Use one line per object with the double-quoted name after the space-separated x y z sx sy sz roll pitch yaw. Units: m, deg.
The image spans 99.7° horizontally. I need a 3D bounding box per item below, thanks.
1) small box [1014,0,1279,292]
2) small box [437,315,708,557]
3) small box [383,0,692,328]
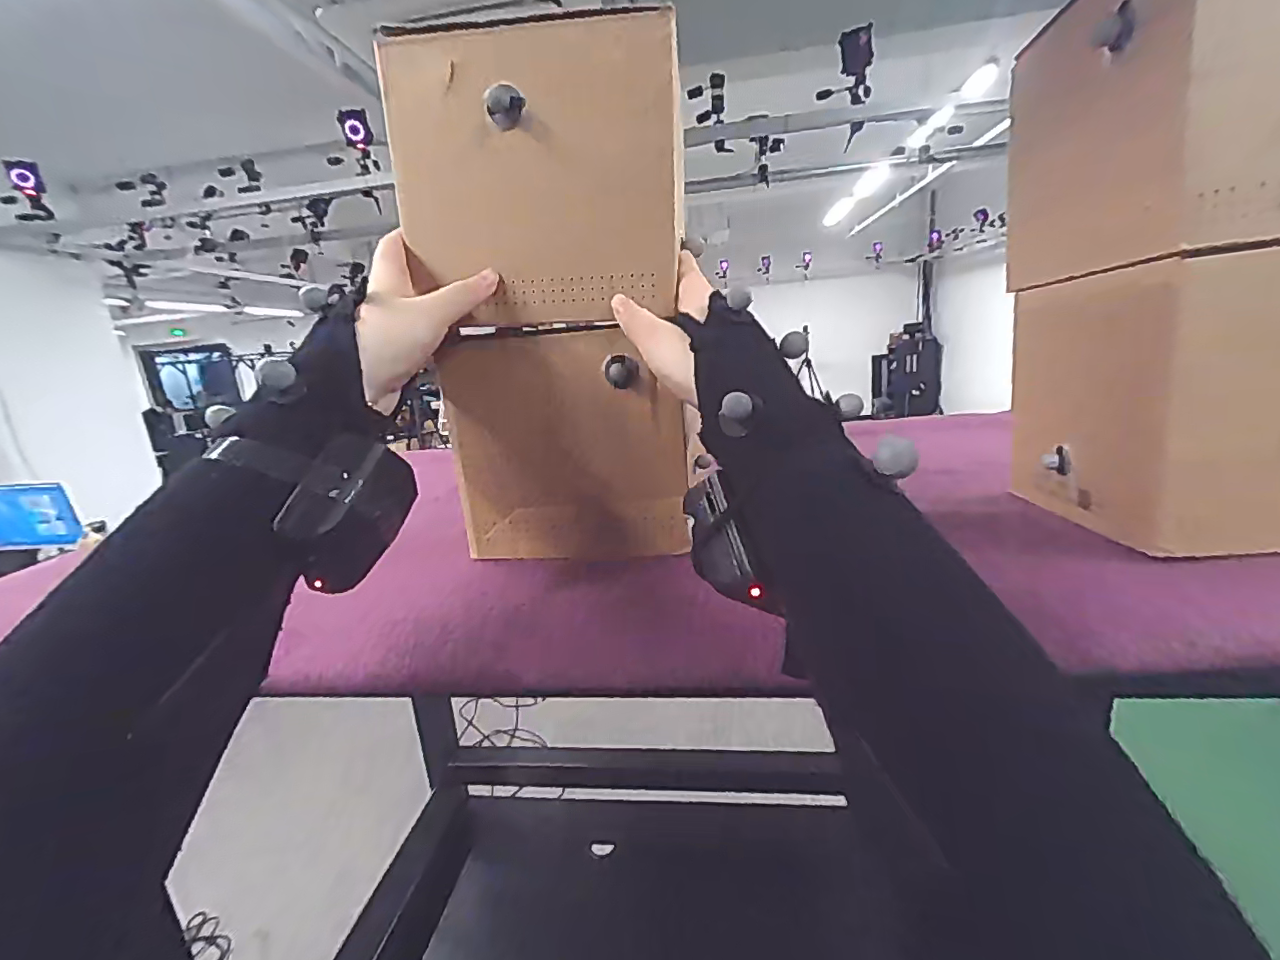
0.356 -0.218 0.323 0.168 0.176 0.179 -4 12 10 "small box"
-0.038 -0.041 0.455 0.179 0.176 0.168 -2 15 9 "small box"
-0.052 -0.201 0.398 0.179 0.176 0.168 1 17 6 "small box"
